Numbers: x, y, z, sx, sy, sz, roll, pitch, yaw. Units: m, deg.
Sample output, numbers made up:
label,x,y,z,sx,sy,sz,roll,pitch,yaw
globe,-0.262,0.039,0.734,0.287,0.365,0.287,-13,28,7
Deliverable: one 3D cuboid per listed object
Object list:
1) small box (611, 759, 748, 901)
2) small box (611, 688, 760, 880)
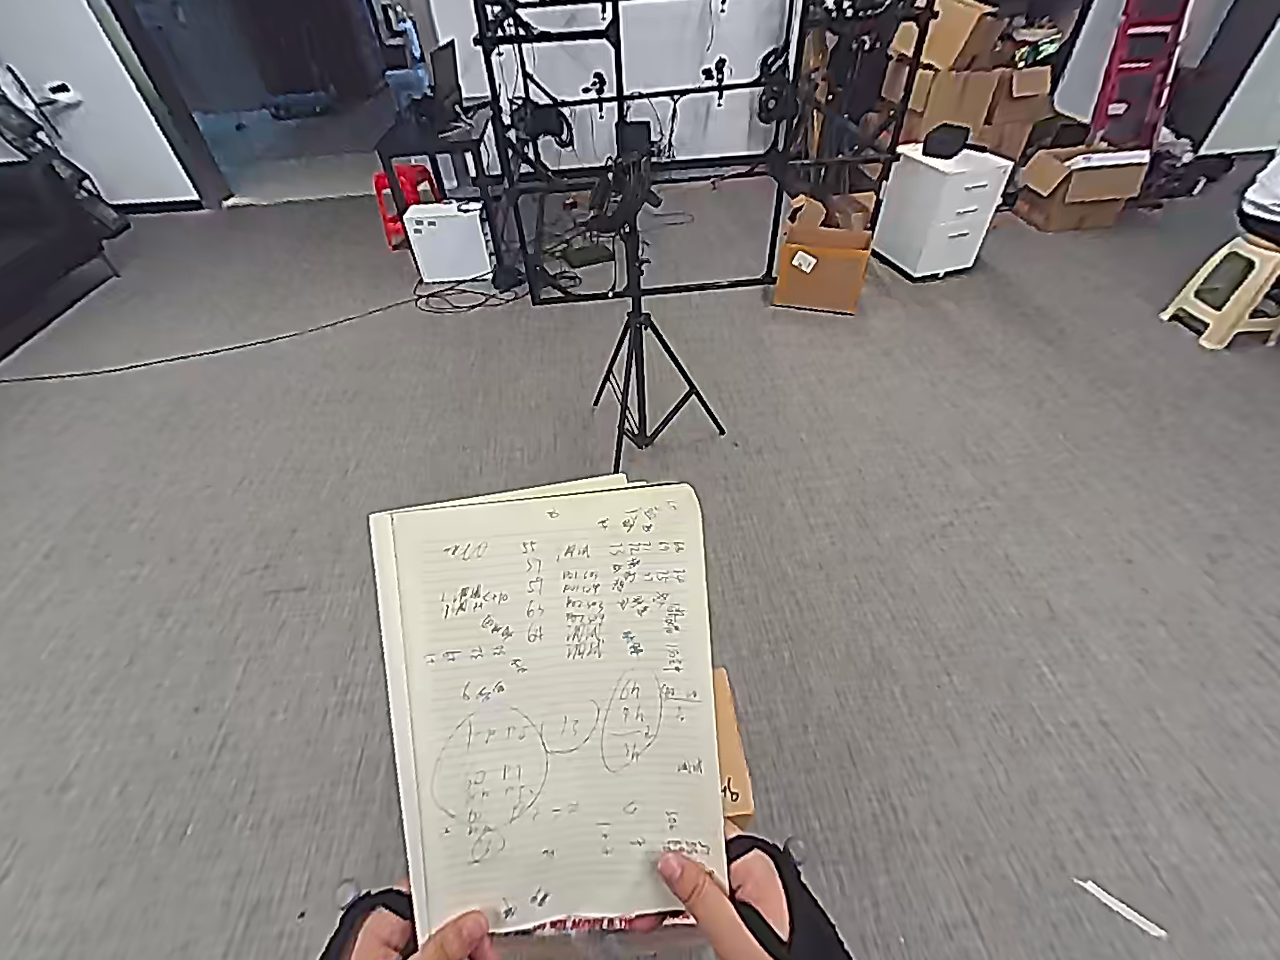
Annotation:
label,x,y,z,sx,sy,sz,roll,pitch,yaw
small box,0.051,0.523,0.829,0.179,0.176,0.168,-6,46,-5
small box,0.046,0.402,0.718,0.168,0.176,0.179,-4,45,-4
